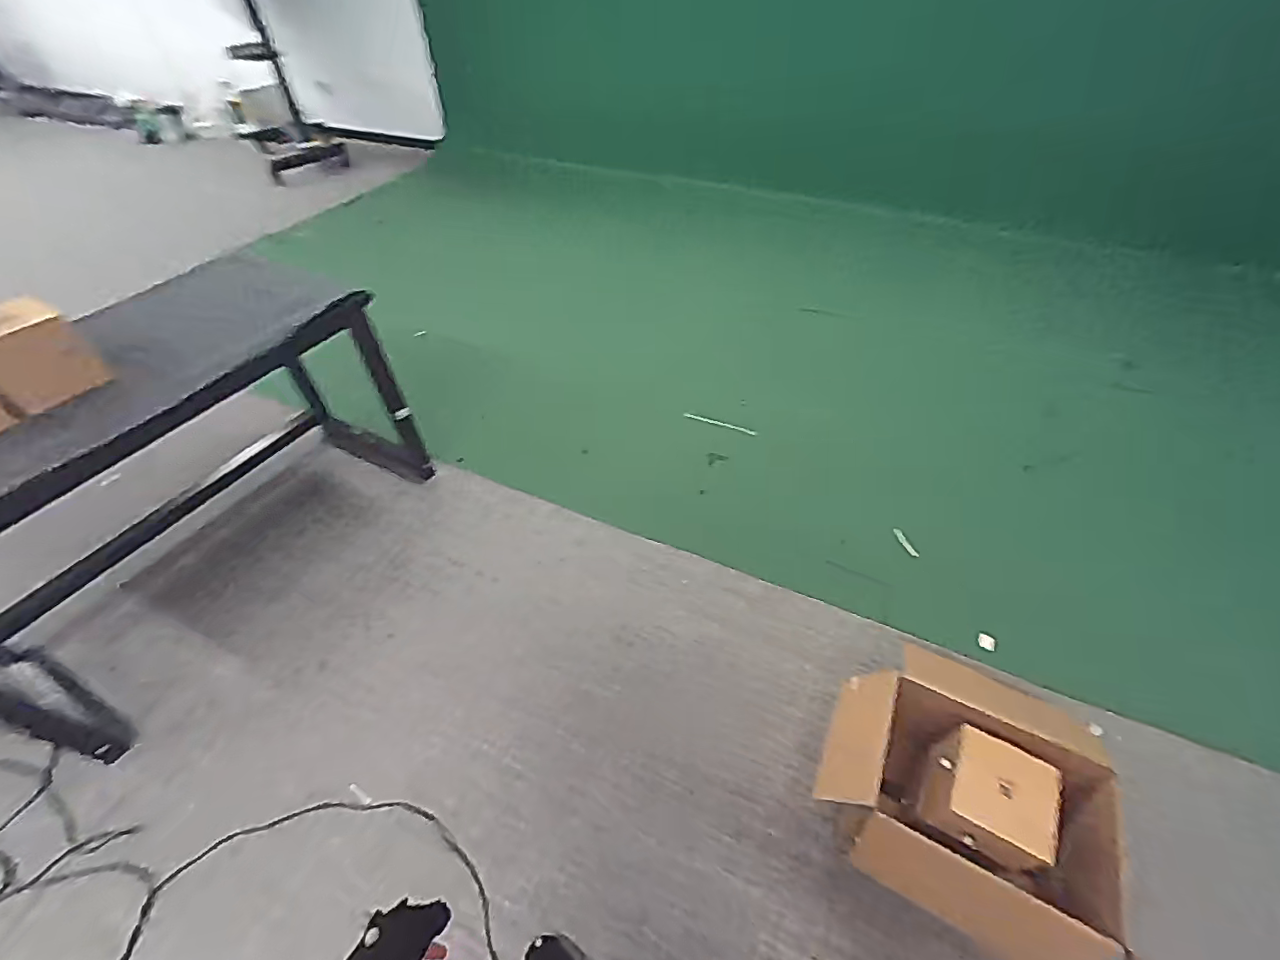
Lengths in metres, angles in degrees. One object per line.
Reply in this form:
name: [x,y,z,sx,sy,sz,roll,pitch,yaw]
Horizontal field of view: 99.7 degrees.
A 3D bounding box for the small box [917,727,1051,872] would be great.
small box: [0.670,0.633,1.067,0.168,0.176,0.179,23,51,20]
